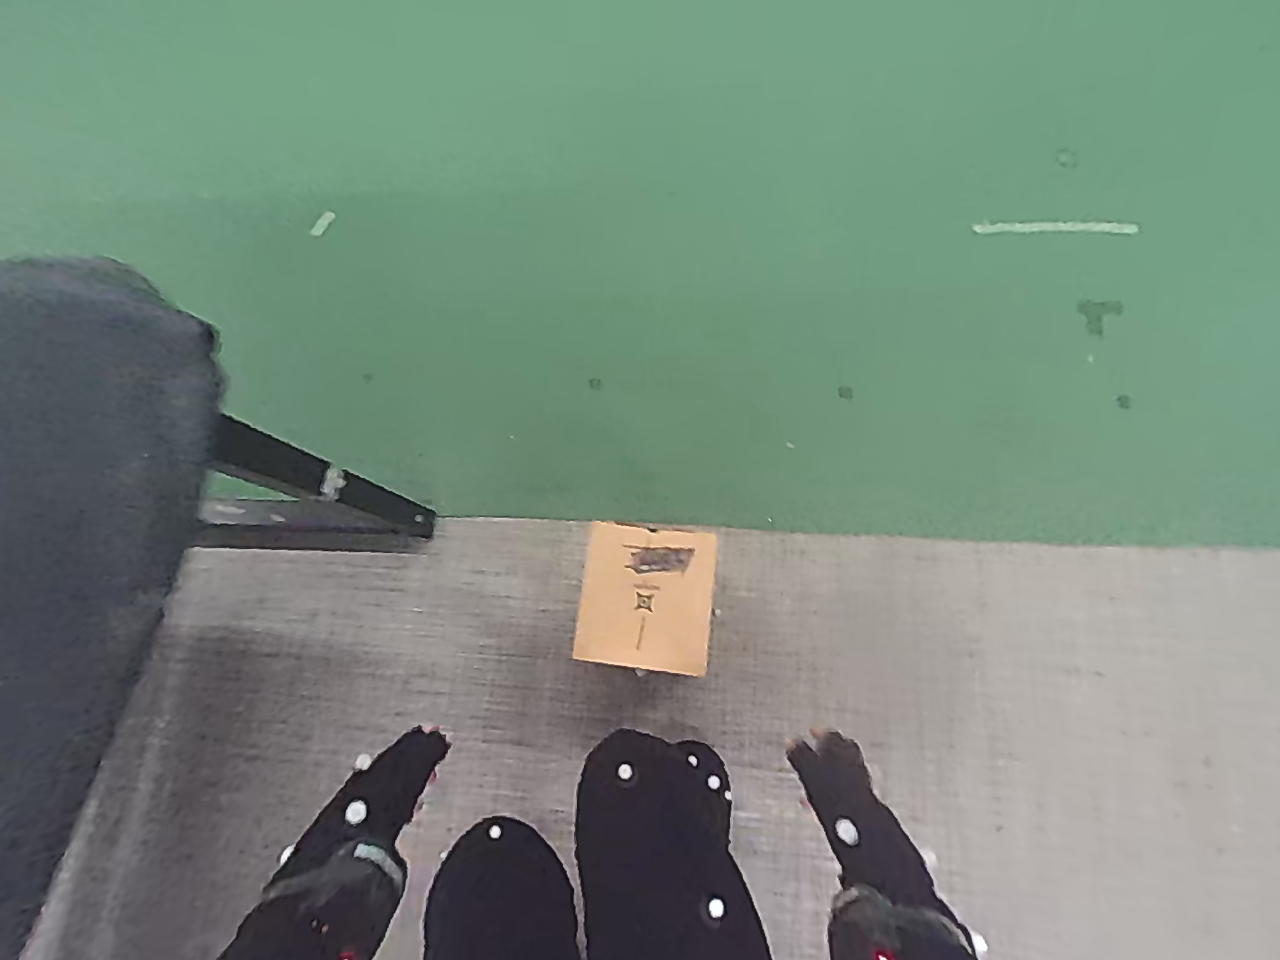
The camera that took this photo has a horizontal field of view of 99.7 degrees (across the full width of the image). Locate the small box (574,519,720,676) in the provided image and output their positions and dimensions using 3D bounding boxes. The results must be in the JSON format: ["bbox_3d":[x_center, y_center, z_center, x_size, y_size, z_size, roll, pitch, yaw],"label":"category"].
[{"bbox_3d":[0.017,0.164,0.753,0.168,0.176,0.179,6,76,8],"label":"small box"}]
